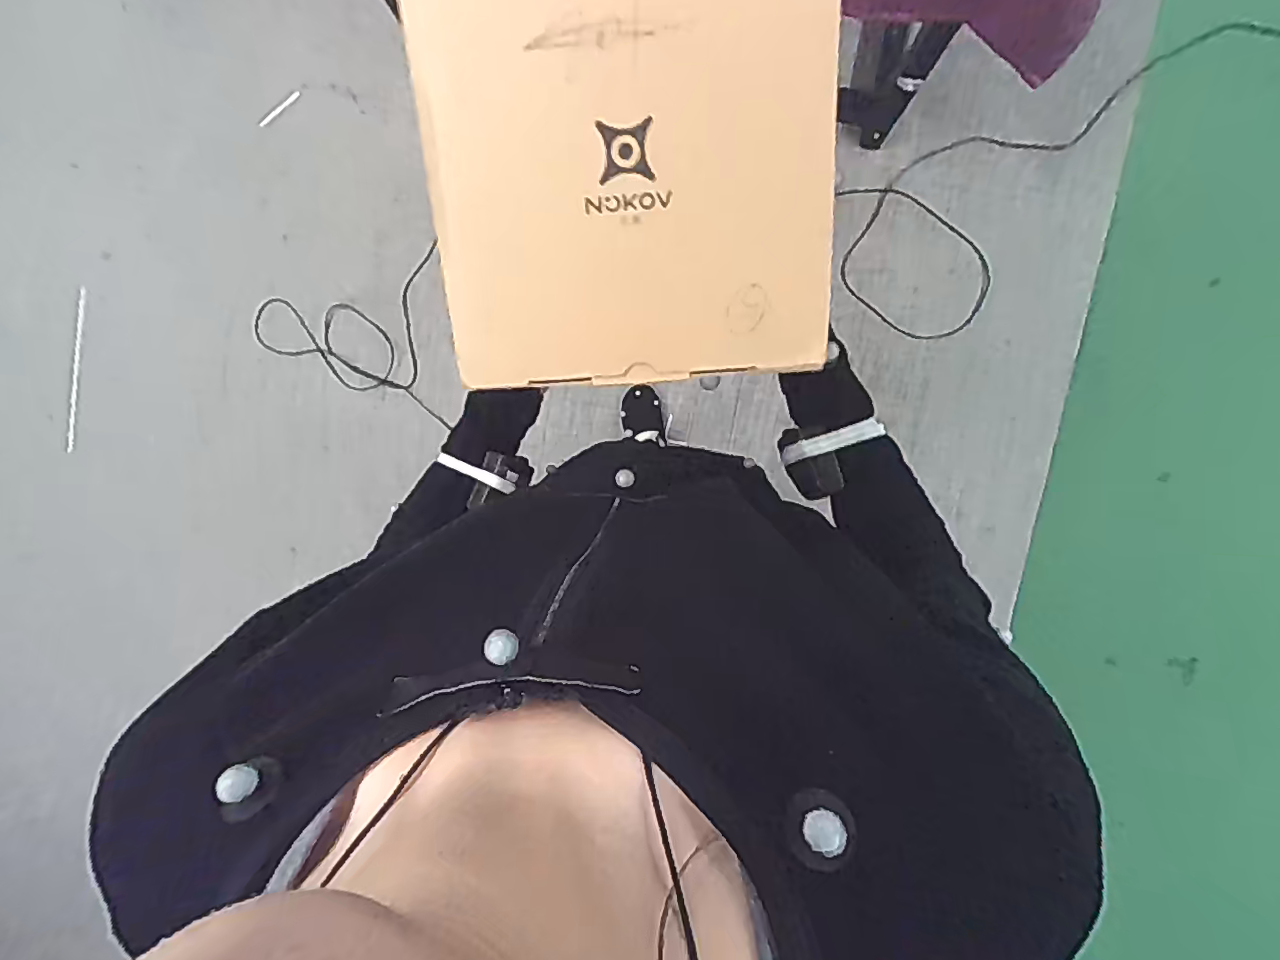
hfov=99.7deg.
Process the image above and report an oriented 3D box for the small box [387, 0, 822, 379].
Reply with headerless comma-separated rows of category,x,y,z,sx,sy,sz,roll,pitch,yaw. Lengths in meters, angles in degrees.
small box,-0.008,-0.155,0.293,0.168,0.176,0.179,-2,107,3
